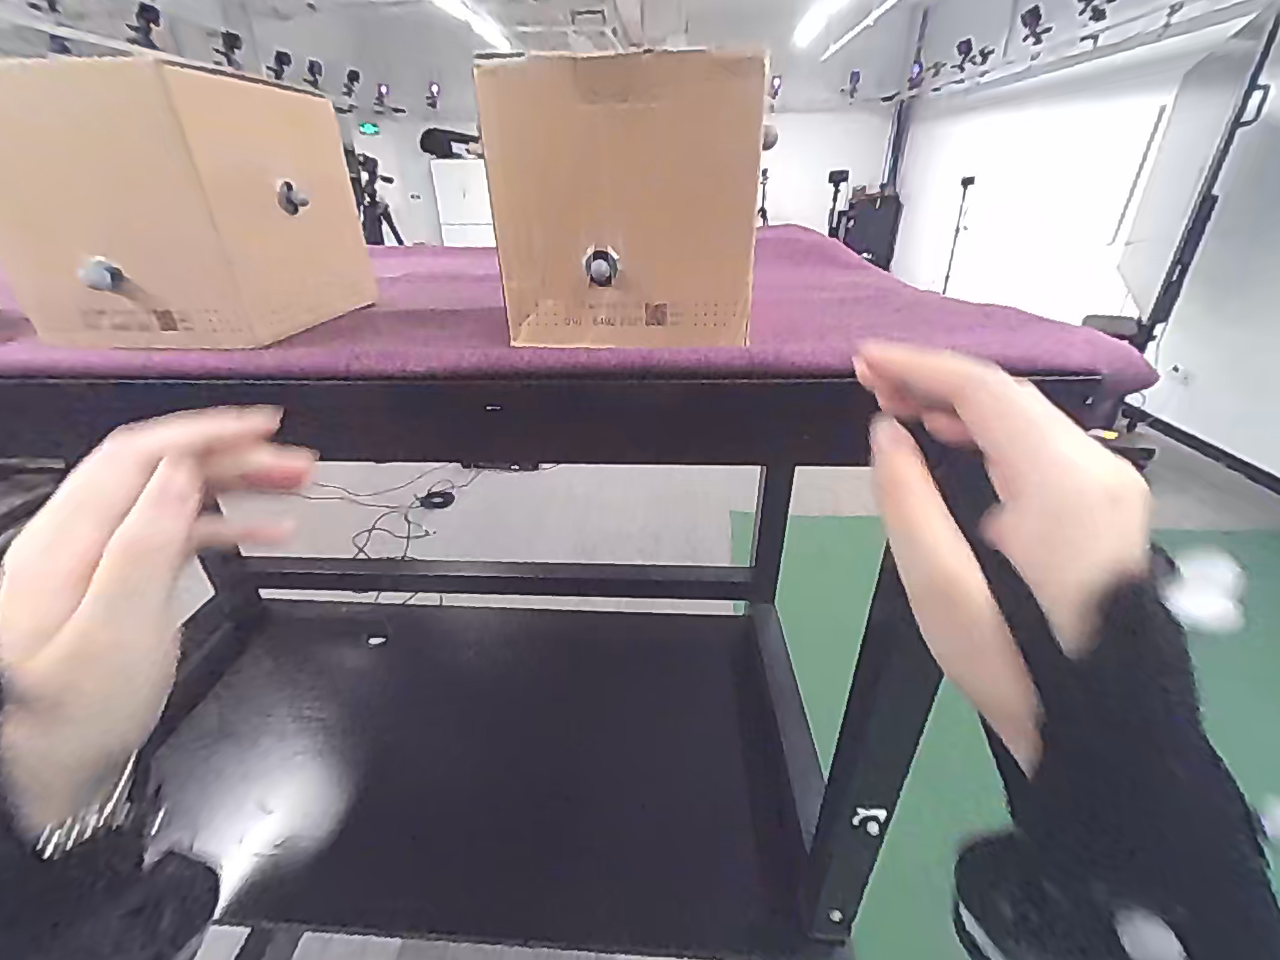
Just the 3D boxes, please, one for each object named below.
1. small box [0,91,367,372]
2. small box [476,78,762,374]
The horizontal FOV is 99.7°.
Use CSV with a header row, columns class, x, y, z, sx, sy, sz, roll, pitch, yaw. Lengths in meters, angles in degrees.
class,x,y,z,sx,sy,sz,roll,pitch,yaw
small box,-0.344,-0.194,0.426,0.168,0.176,0.179,1,31,4
small box,-0.005,-0.190,0.411,0.168,0.176,0.179,2,31,5
